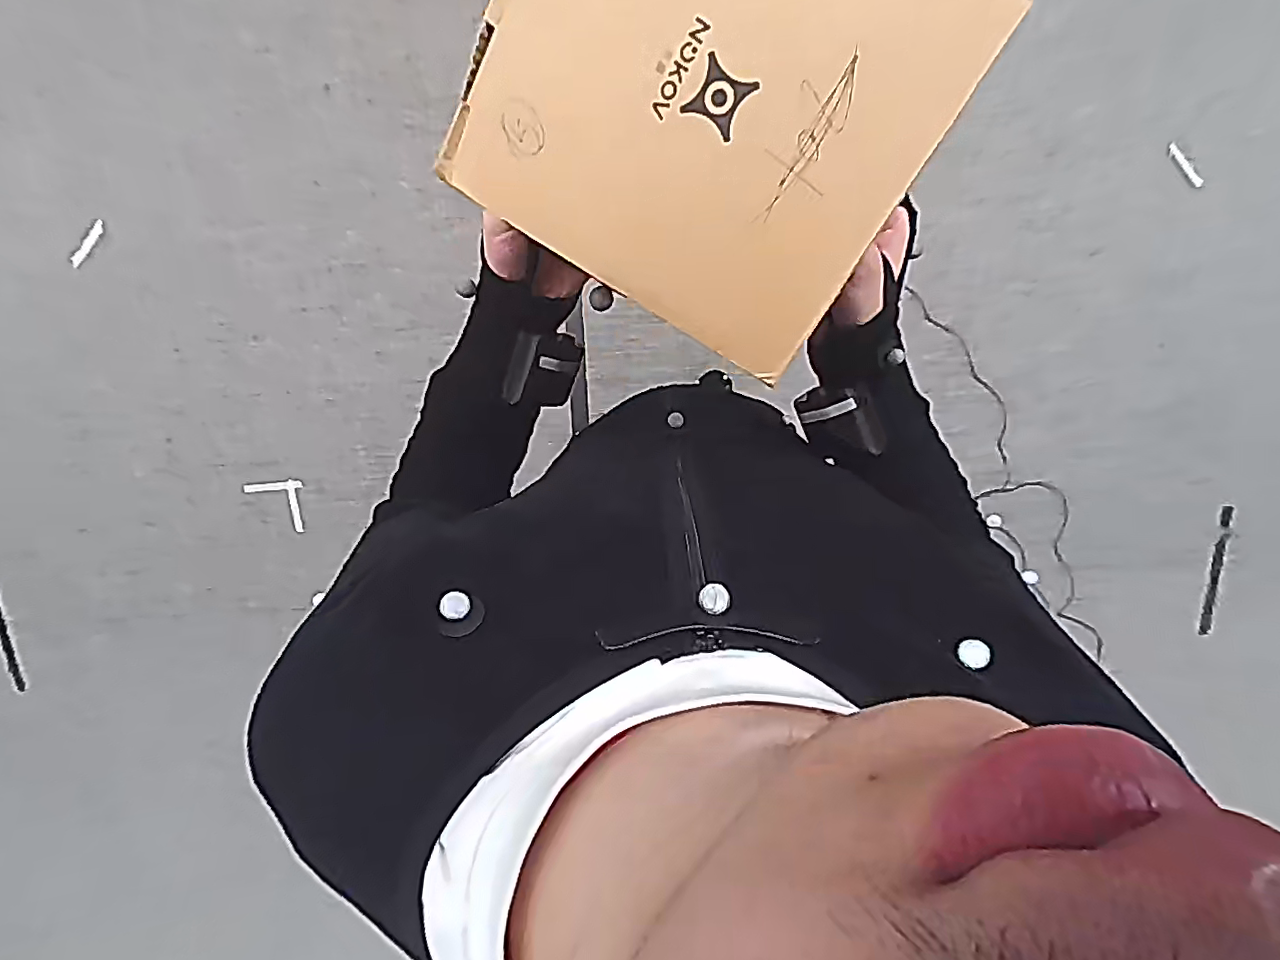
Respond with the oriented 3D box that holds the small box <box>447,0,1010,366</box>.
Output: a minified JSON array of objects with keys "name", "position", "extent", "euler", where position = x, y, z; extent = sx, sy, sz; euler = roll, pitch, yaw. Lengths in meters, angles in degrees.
[{"name":"small box","position":[0.034,-0.183,0.298],"extent":[0.179,0.176,0.168],"euler":[30,108,-6]}]
